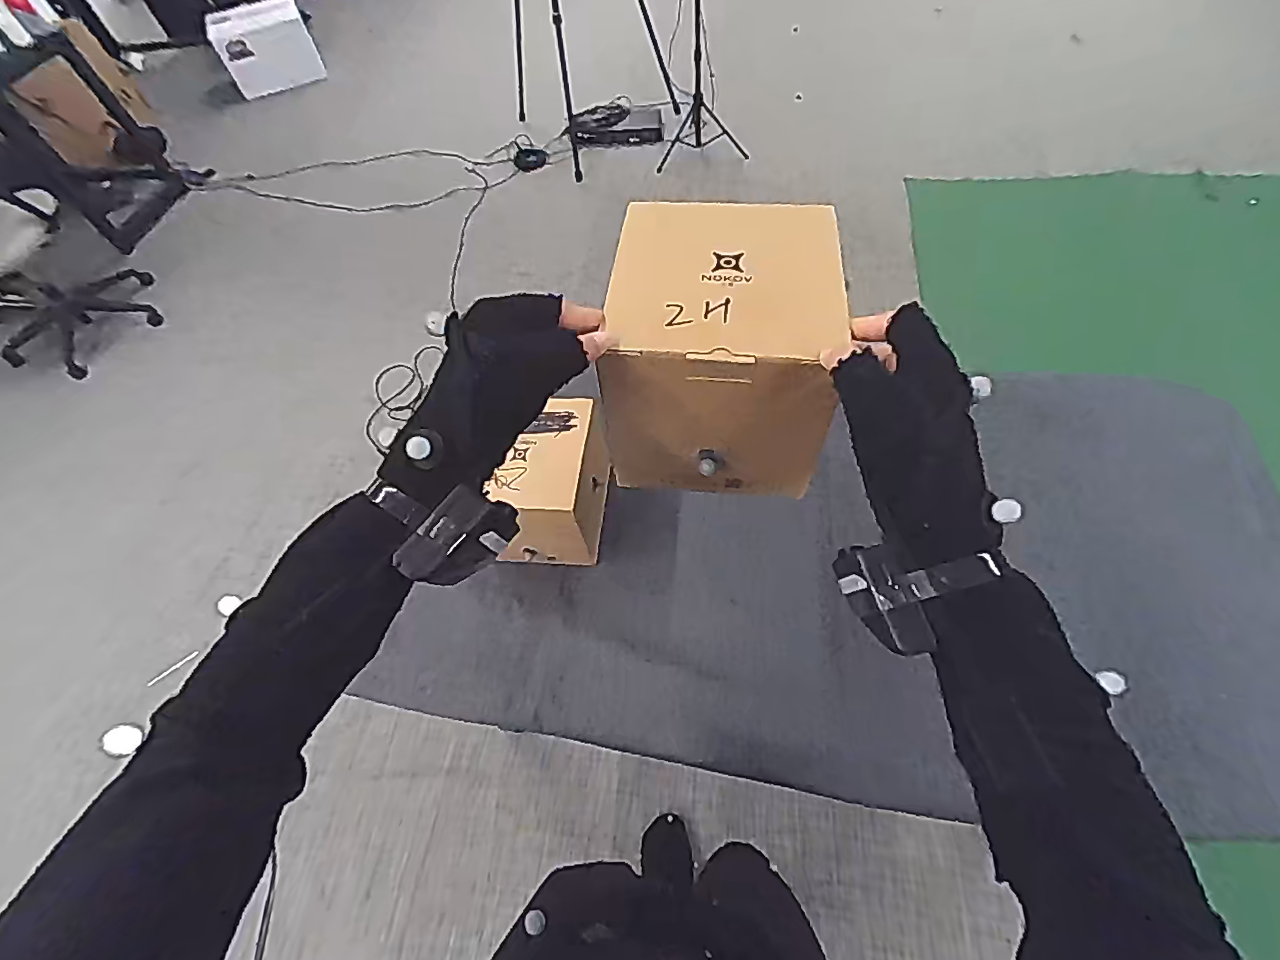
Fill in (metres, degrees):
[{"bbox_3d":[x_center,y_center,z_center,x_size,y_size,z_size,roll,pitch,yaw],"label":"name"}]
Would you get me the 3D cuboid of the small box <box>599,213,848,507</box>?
[{"bbox_3d":[0.066,-0.099,0.463,0.168,0.176,0.179,5,56,7],"label":"small box"}]
